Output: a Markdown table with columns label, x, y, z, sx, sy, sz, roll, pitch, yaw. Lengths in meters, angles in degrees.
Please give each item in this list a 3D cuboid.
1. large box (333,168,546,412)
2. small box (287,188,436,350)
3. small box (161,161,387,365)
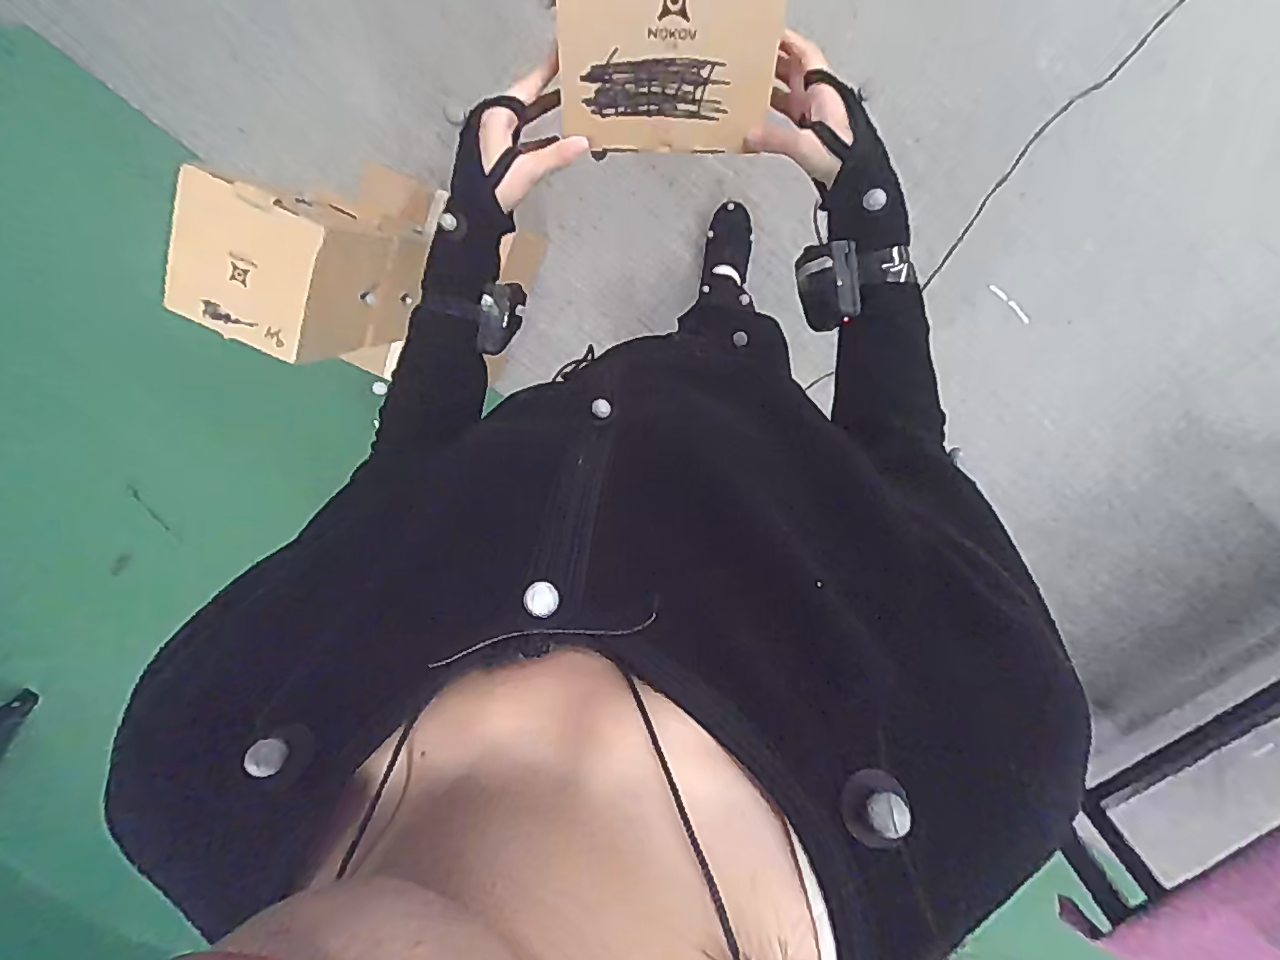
| label | x | y | z | sx | sy | sz | roll | pitch | yaw |
| --- | --- | --- | --- | --- | --- | --- | --- | --- | --- |
| large box | -0.453 | -0.431 | 1.259 | 0.320 | 0.320 | 0.408 | 25 | 111 | -4 |
| small box | -0.449 | -0.329 | 0.862 | 0.168 | 0.176 | 0.179 | 24 | 109 | -5 |
| small box | -0.462 | -0.273 | 0.708 | 0.168 | 0.176 | 0.179 | 25 | 108 | -5 |
